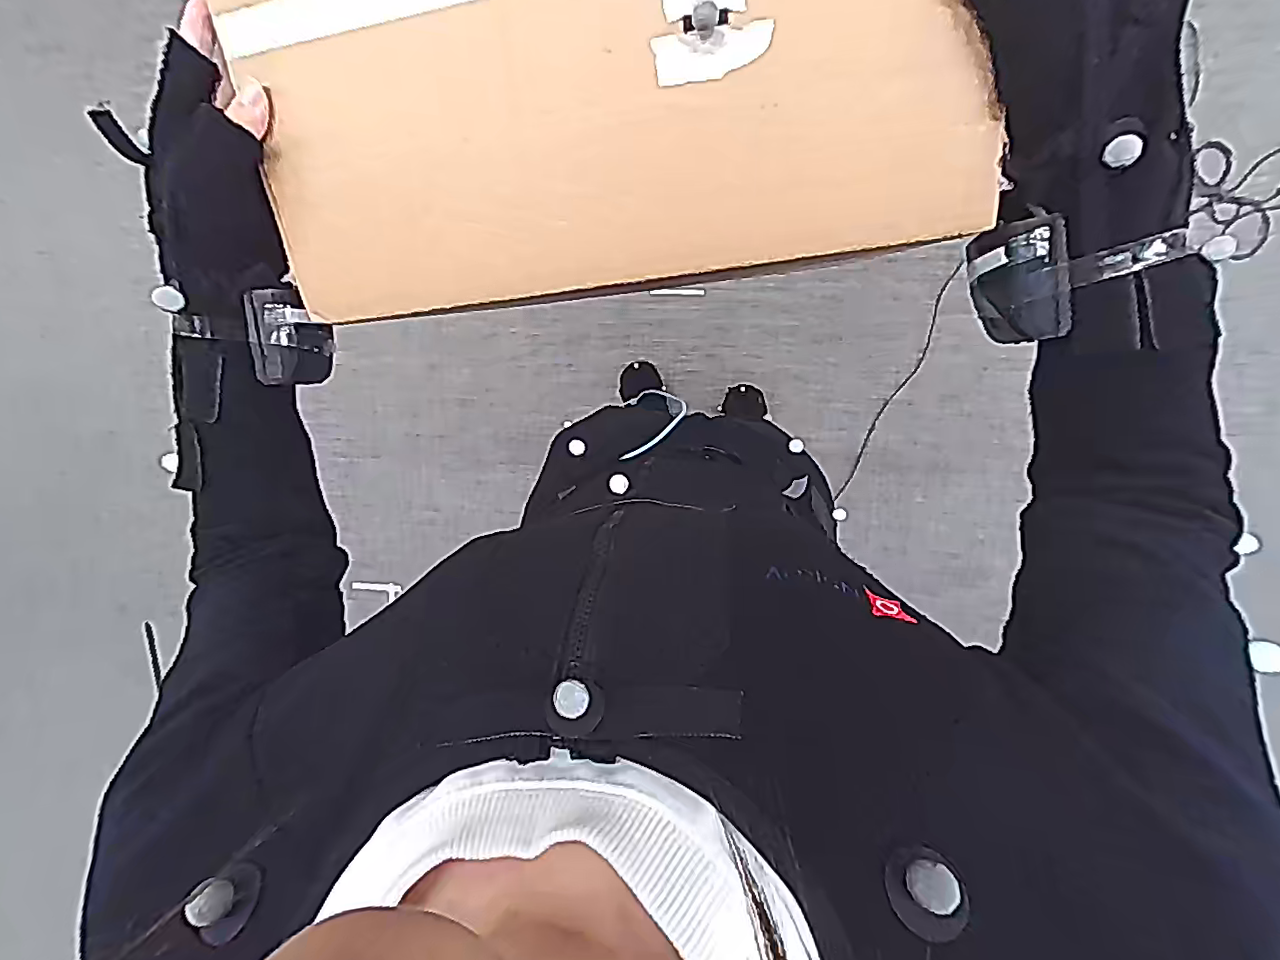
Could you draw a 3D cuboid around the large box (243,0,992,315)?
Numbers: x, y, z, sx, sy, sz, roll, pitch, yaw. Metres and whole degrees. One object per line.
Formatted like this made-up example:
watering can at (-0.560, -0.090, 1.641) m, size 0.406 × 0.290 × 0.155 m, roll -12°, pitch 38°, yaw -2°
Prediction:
large box at (-0.011, -0.320, 0.418) m, size 0.408 × 0.320 × 0.320 m, roll -5°, pitch 109°, yaw 10°
